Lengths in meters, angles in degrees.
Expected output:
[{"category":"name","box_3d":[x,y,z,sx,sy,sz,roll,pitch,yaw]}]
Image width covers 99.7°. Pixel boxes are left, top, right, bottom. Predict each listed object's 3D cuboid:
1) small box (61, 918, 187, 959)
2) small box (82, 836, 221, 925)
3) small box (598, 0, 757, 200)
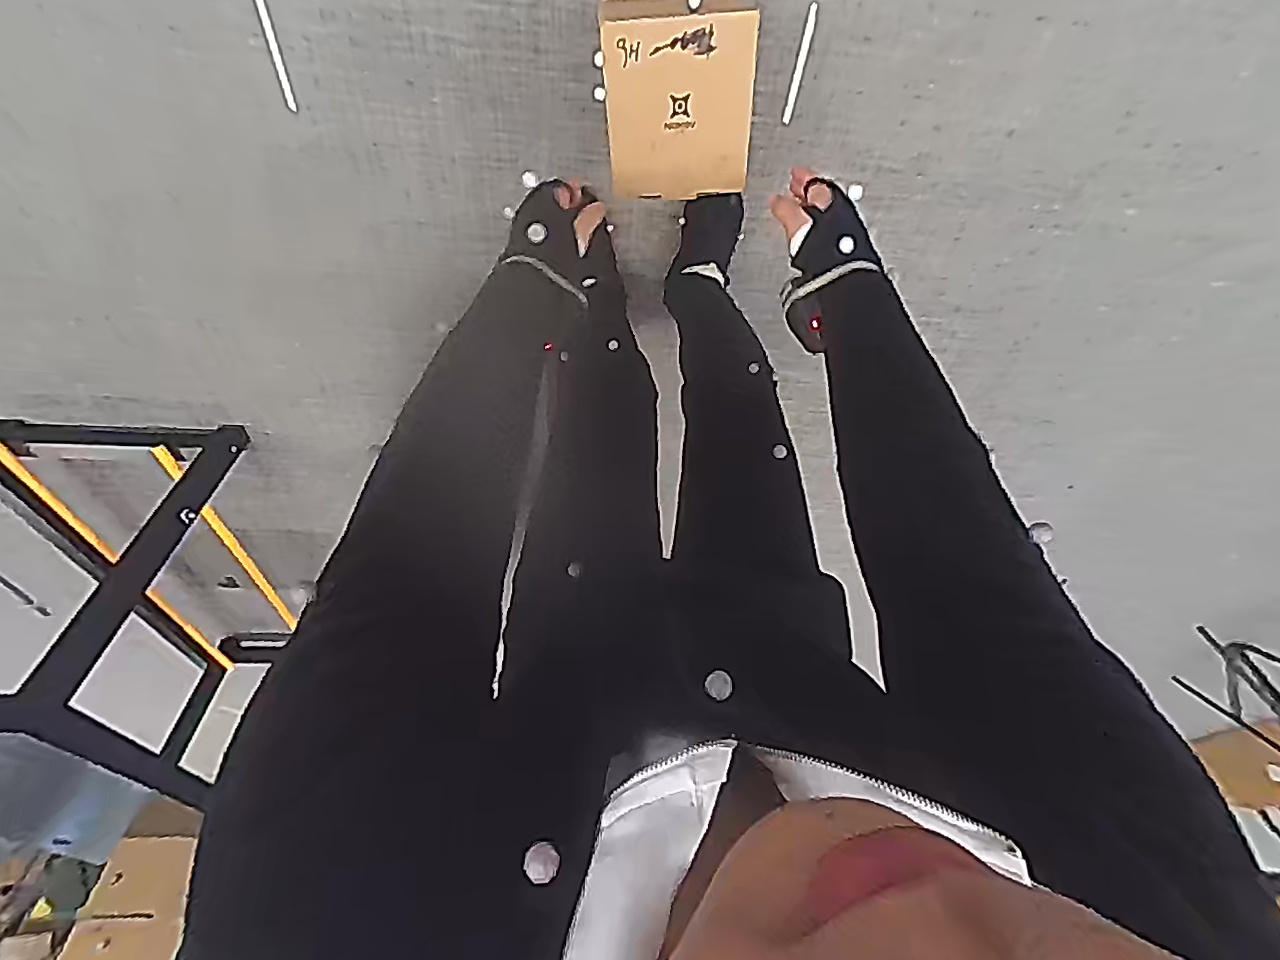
[{"category":"small box","box_3d":[-1.242,1.157,1.286,0.168,0.176,0.179,2,137,-3]},{"category":"small box","box_3d":[-1.247,1.037,1.399,0.179,0.176,0.168,2,138,-5]},{"category":"small box","box_3d":[0.040,-0.471,0.666,0.168,0.176,0.179,-3,138,1]}]
